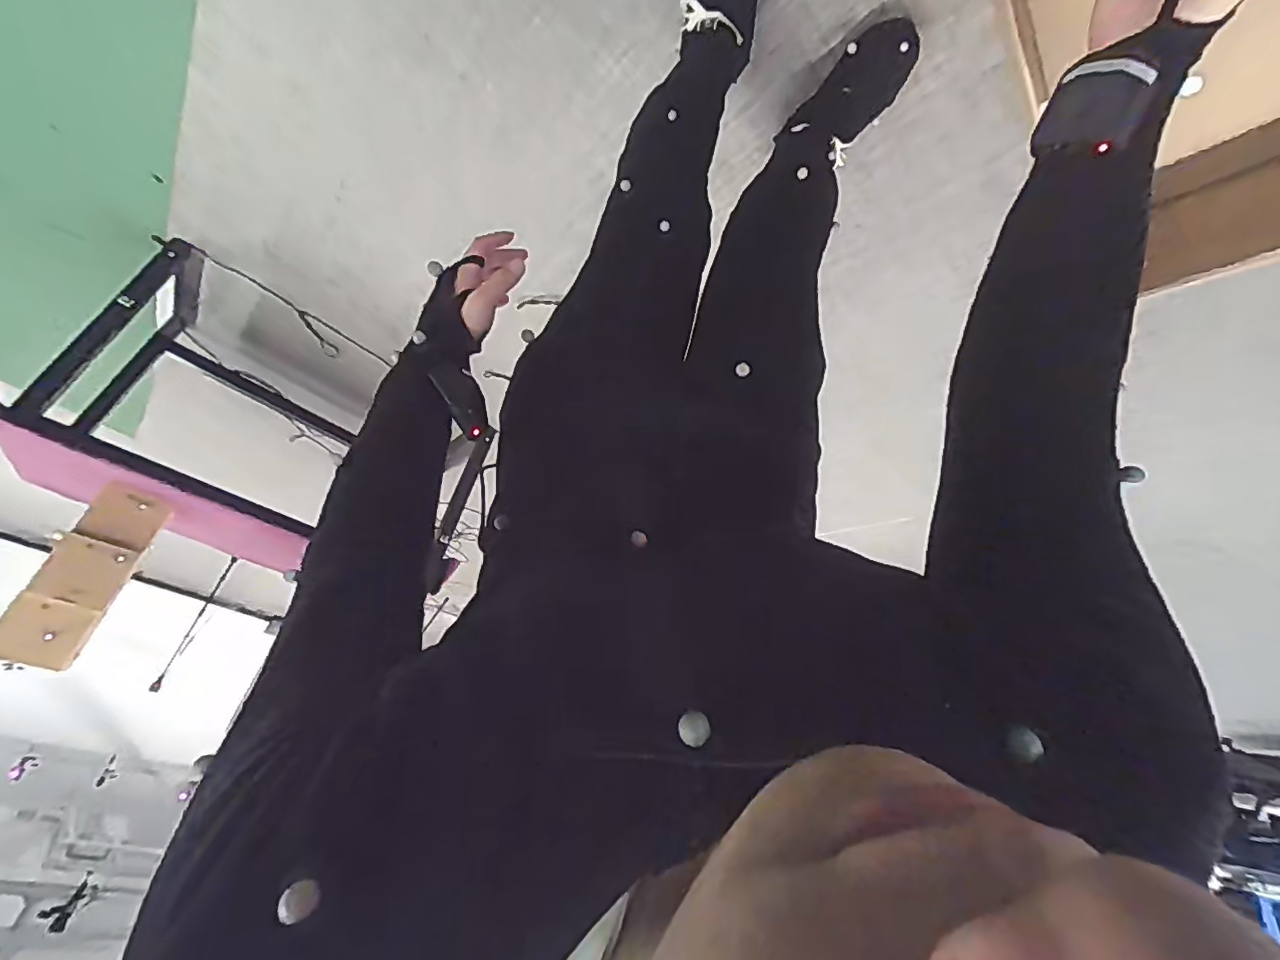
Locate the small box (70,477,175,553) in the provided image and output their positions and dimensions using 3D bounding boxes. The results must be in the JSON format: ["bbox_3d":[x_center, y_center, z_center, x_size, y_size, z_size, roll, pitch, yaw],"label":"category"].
[{"bbox_3d":[-1.521,0.110,1.596,0.168,0.176,0.179,33,146,-34],"label":"small box"}]

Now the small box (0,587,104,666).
[{"bbox_3d":[-1.584,0.389,1.438,0.168,0.176,0.179,31,149,-31],"label":"small box"}]

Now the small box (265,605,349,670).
[{"bbox_3d":[-1.092,0.519,1.784,0.168,0.176,0.179,34,145,-31],"label":"small box"}]

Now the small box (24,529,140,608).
[{"bbox_3d":[-1.542,0.247,1.506,0.168,0.176,0.179,32,149,-32],"label":"small box"}]
